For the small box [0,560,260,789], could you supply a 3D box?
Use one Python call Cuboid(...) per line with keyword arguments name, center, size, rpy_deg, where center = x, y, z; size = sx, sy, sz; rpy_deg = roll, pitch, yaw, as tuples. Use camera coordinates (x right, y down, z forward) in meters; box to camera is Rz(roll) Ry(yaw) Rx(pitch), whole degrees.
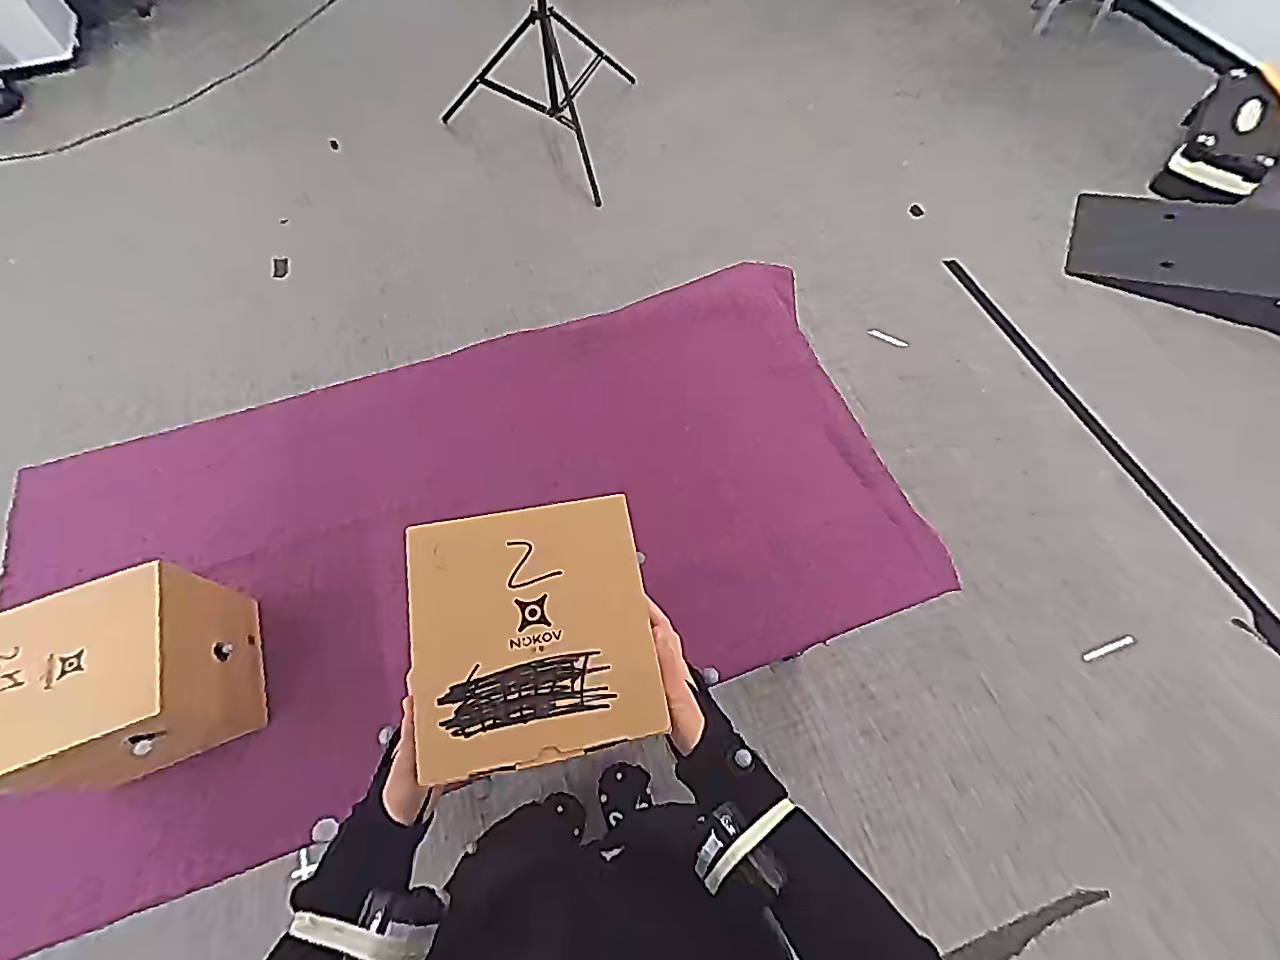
Cuboid(name="small box", center=(-0.551, 0.214, 0.592), size=(0.179, 0.176, 0.168), rpy_deg=(-21, 64, -10))
